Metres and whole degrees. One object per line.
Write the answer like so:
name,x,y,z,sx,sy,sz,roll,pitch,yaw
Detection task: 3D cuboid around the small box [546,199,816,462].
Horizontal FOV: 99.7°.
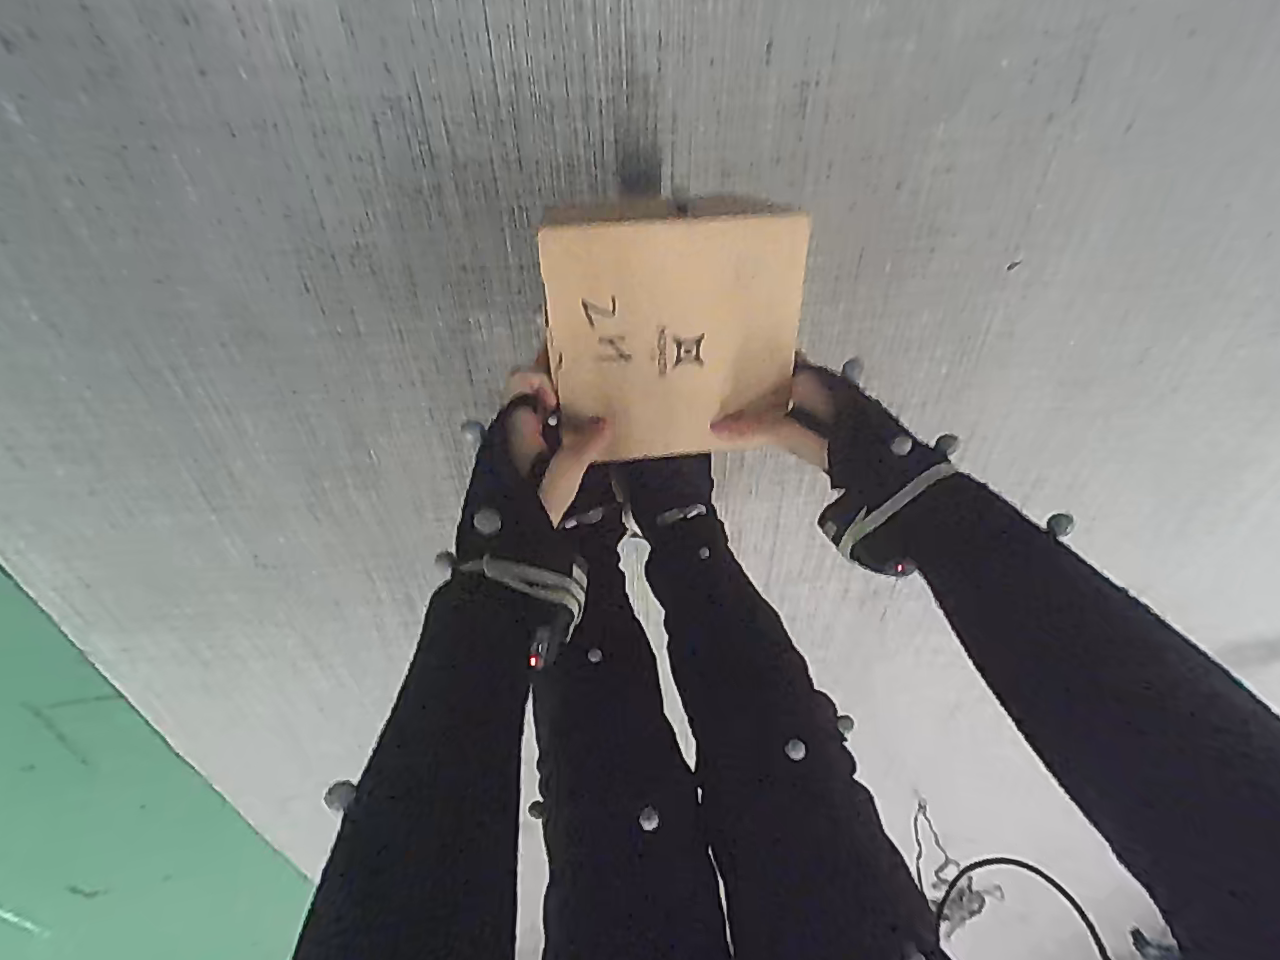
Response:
small box,0.018,-0.131,0.446,0.179,0.176,0.168,-4,122,-5
